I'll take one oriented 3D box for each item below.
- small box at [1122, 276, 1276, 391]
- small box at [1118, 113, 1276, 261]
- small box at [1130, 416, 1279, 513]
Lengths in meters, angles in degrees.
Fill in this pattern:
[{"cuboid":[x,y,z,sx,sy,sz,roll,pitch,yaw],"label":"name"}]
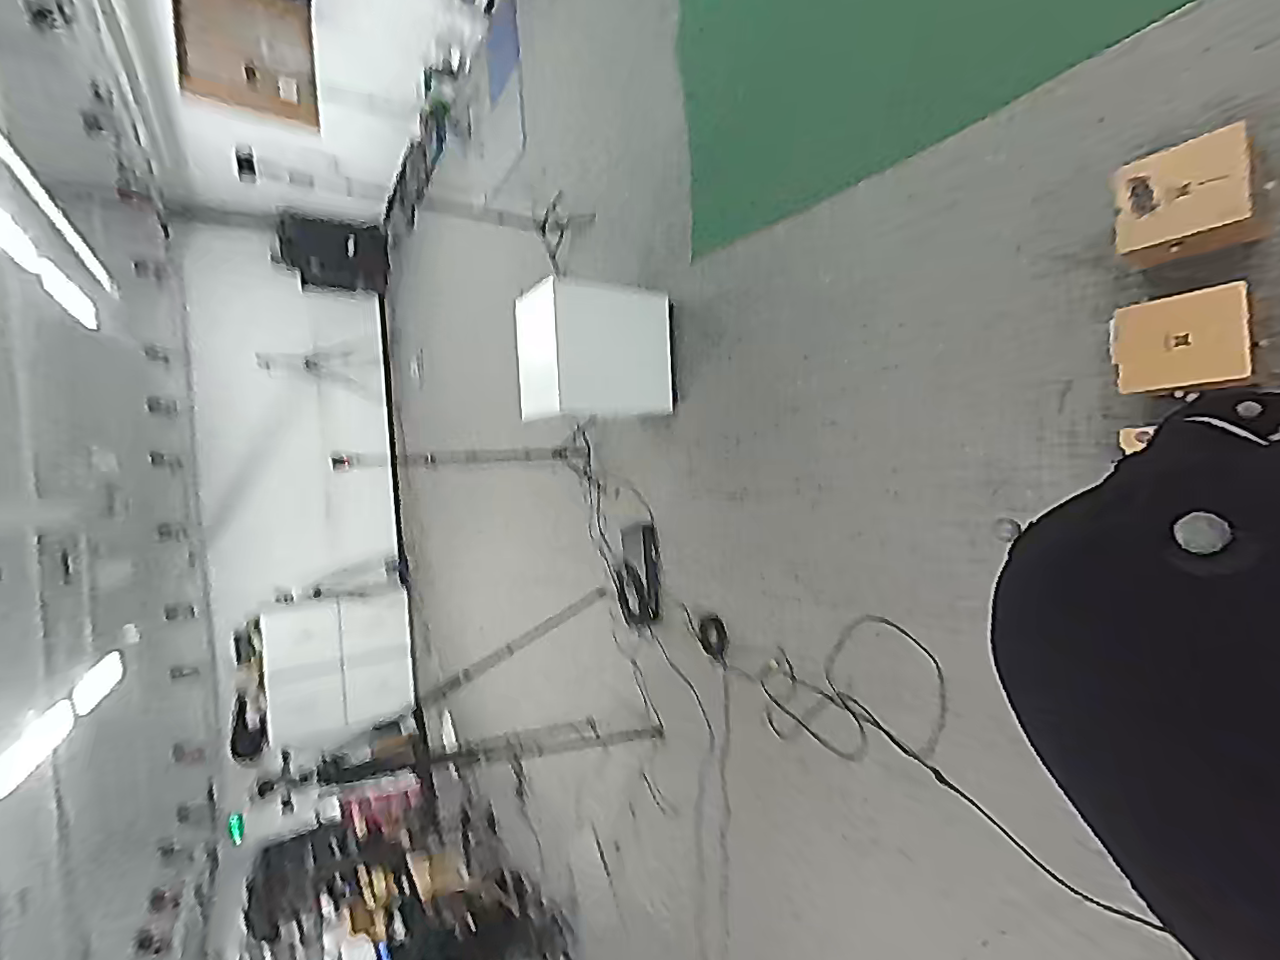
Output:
[{"cuboid":[1.046,-0.263,1.011,0.179,0.176,0.168,-5,89,57],"label":"small box"},{"cuboid":[1.031,-0.526,1.004,0.179,0.176,0.168,-4,90,56],"label":"small box"},{"cuboid":[1.059,-0.031,1.012,0.179,0.176,0.168,-2,92,56],"label":"small box"}]
